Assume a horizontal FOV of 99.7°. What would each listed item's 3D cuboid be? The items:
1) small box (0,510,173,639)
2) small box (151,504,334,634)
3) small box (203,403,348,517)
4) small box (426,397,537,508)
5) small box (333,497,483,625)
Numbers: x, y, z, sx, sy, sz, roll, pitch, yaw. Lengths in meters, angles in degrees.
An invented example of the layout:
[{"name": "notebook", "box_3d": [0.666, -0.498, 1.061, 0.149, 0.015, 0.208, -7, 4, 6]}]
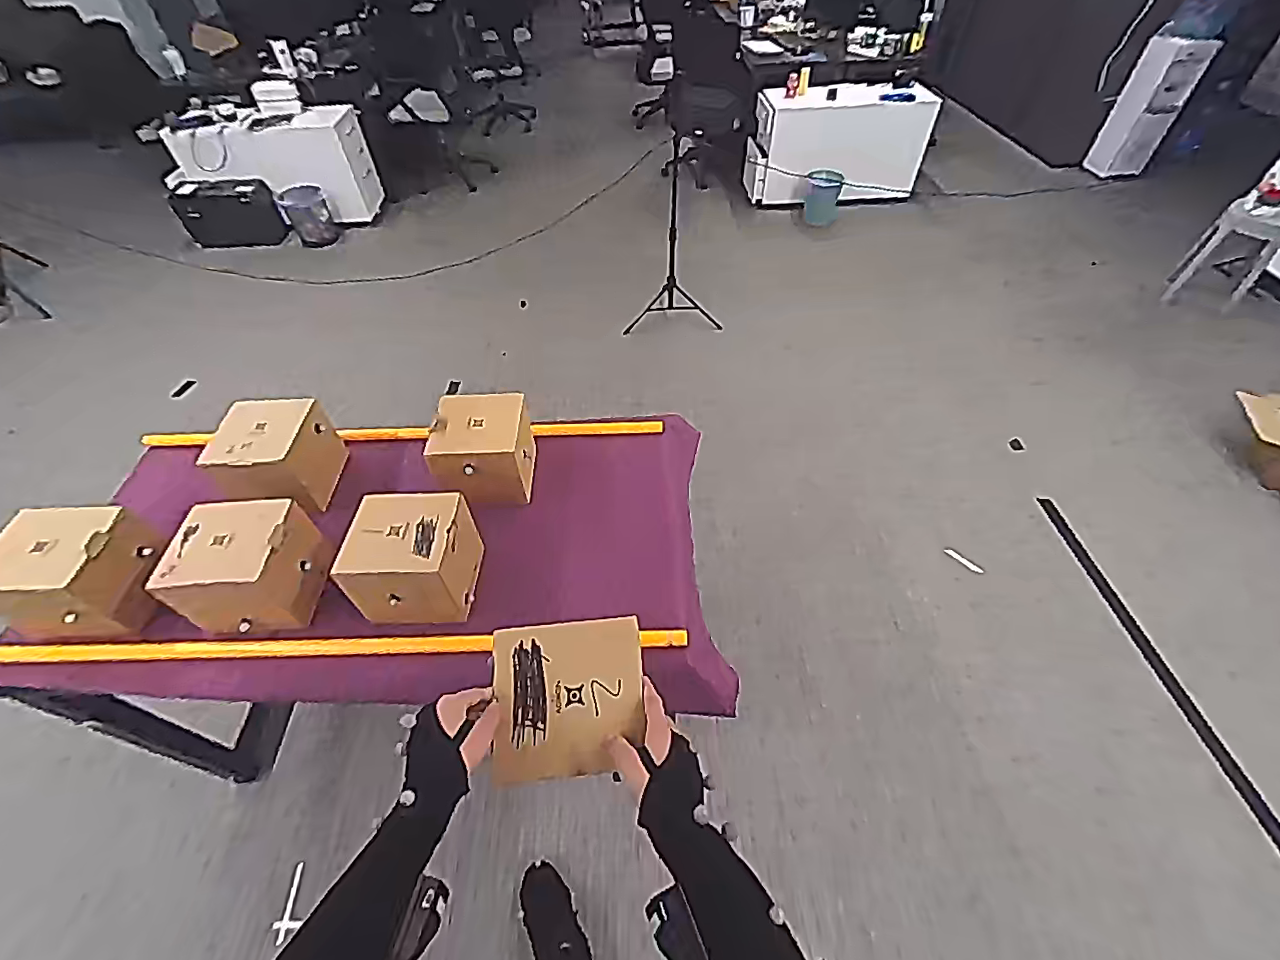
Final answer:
[{"name": "small box", "box_3d": [-0.974, 0.168, 0.952, 0.179, 0.176, 0.168, -1, 48, -2]}, {"name": "small box", "box_3d": [-0.678, 0.160, 0.954, 0.179, 0.176, 0.168, -3, 49, -2]}, {"name": "small box", "box_3d": [-0.741, -0.040, 1.127, 0.168, 0.176, 0.179, -2, 51, 0]}, {"name": "small box", "box_3d": [-0.318, -0.054, 1.129, 0.179, 0.176, 0.168, -2, 50, 1]}, {"name": "small box", "box_3d": [-0.393, 0.145, 0.957, 0.179, 0.176, 0.168, -1, 48, 2]}]
